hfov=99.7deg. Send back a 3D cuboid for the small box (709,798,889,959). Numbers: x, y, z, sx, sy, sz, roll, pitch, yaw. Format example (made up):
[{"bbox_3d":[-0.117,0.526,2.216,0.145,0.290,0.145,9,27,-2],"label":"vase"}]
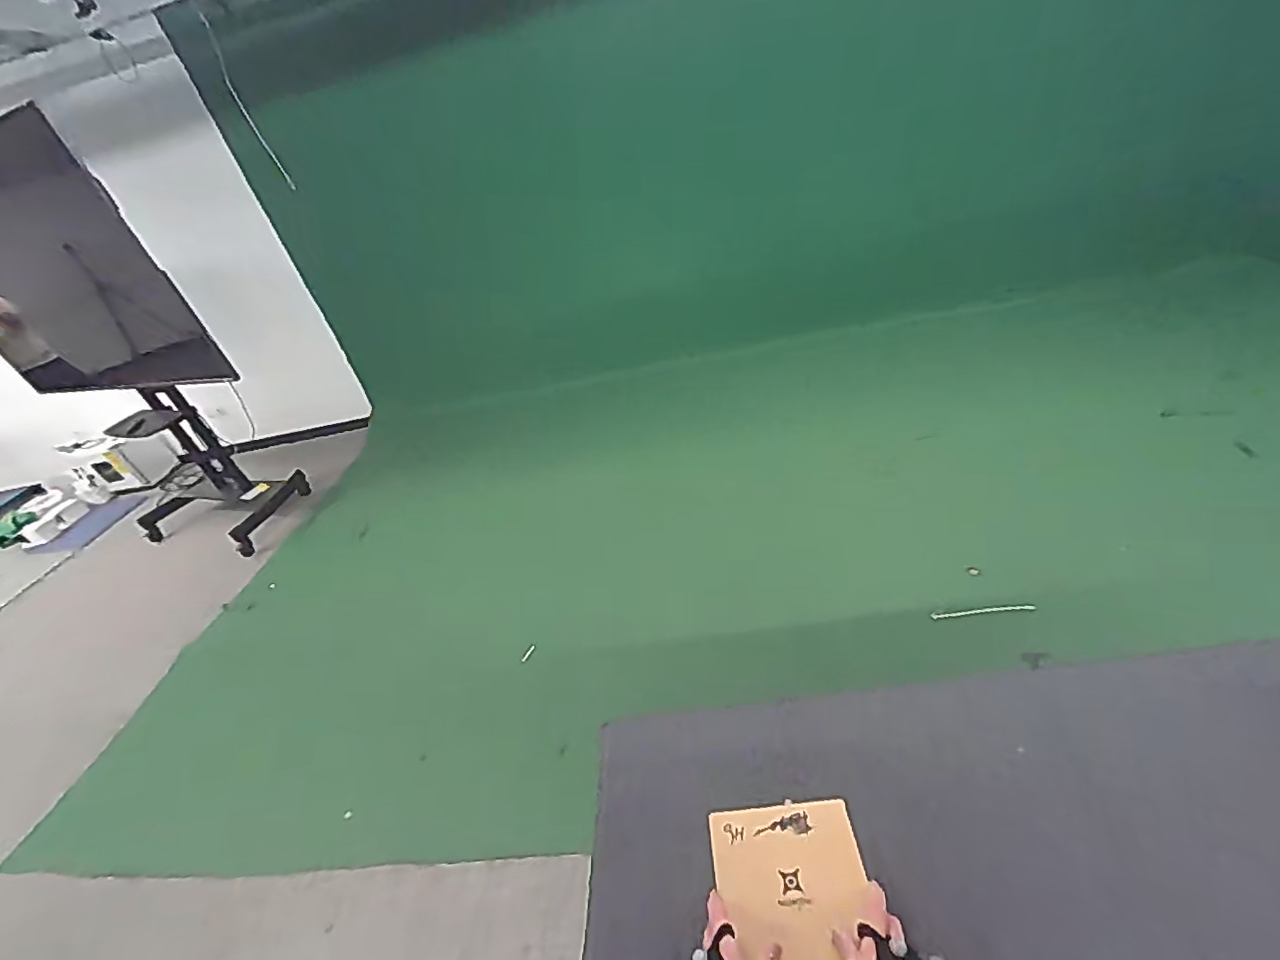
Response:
[{"bbox_3d":[0.181,0.506,0.629,0.168,0.176,0.179,-10,35,6],"label":"small box"}]
